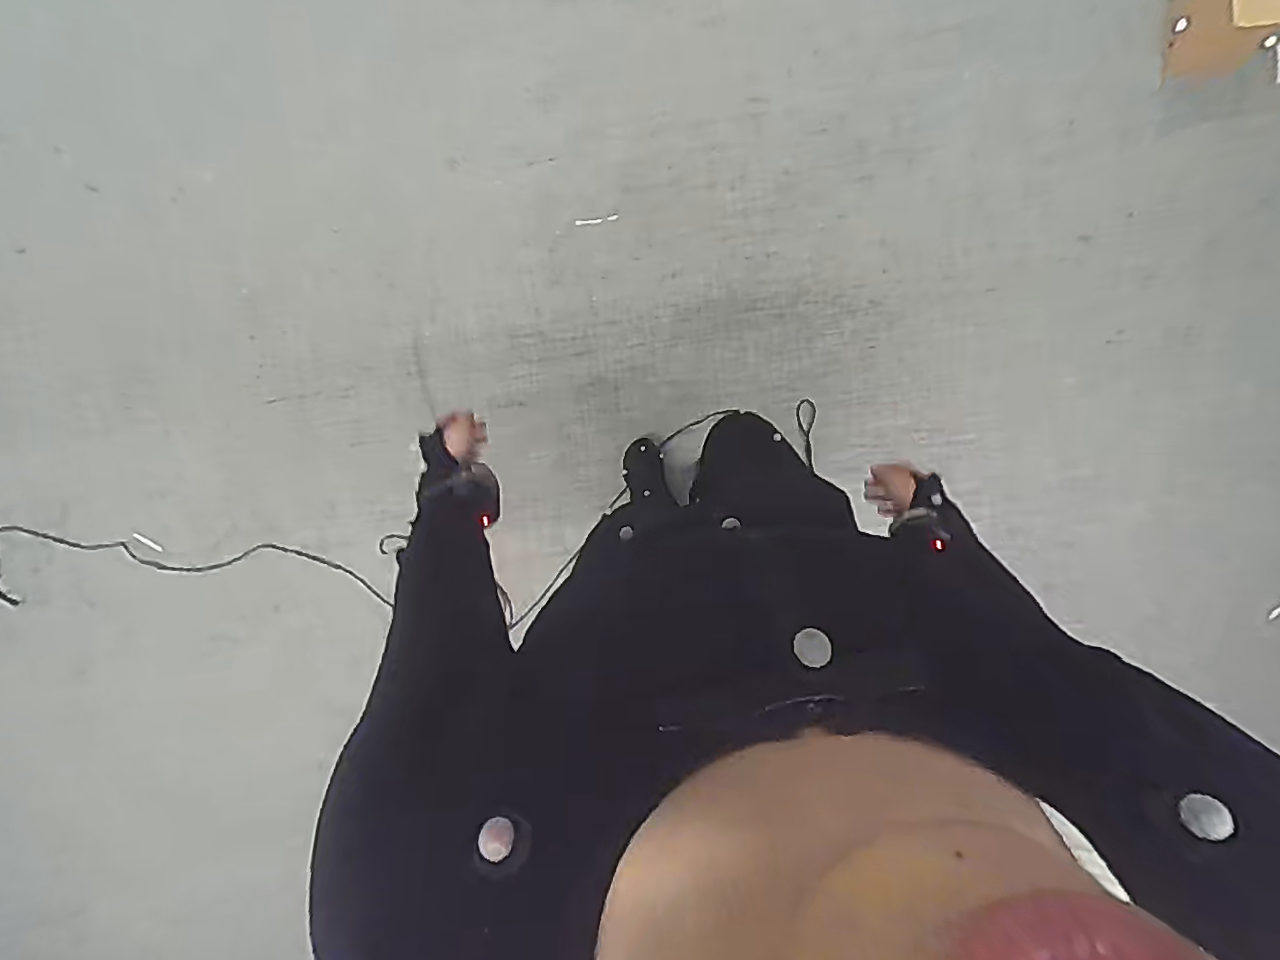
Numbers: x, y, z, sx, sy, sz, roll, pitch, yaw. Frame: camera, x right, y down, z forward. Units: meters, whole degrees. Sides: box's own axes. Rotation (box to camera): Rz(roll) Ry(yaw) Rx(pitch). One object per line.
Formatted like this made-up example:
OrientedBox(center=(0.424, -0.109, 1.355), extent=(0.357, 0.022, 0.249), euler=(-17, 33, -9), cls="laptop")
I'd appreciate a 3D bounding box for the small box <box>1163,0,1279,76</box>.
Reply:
OrientedBox(center=(1.400, -1.092, 1.271), extent=(0.179, 0.176, 0.168), euler=(-3, 95, 2), cls="small box")
